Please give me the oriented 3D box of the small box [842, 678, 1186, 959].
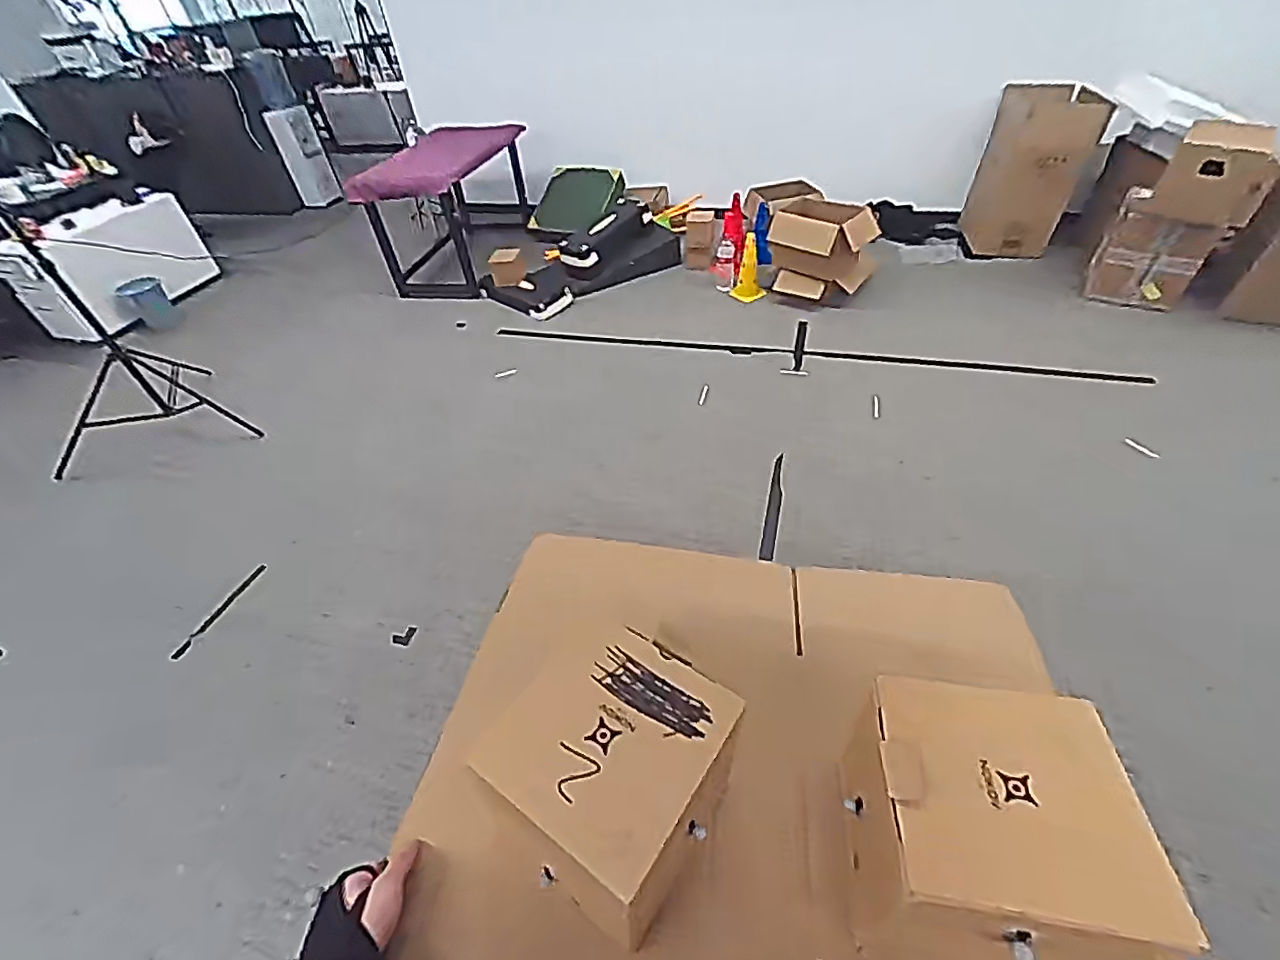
[{"bbox_3d":[0.288,0.301,0.471,0.179,0.176,0.168,3,39,11],"label":"small box"}]
